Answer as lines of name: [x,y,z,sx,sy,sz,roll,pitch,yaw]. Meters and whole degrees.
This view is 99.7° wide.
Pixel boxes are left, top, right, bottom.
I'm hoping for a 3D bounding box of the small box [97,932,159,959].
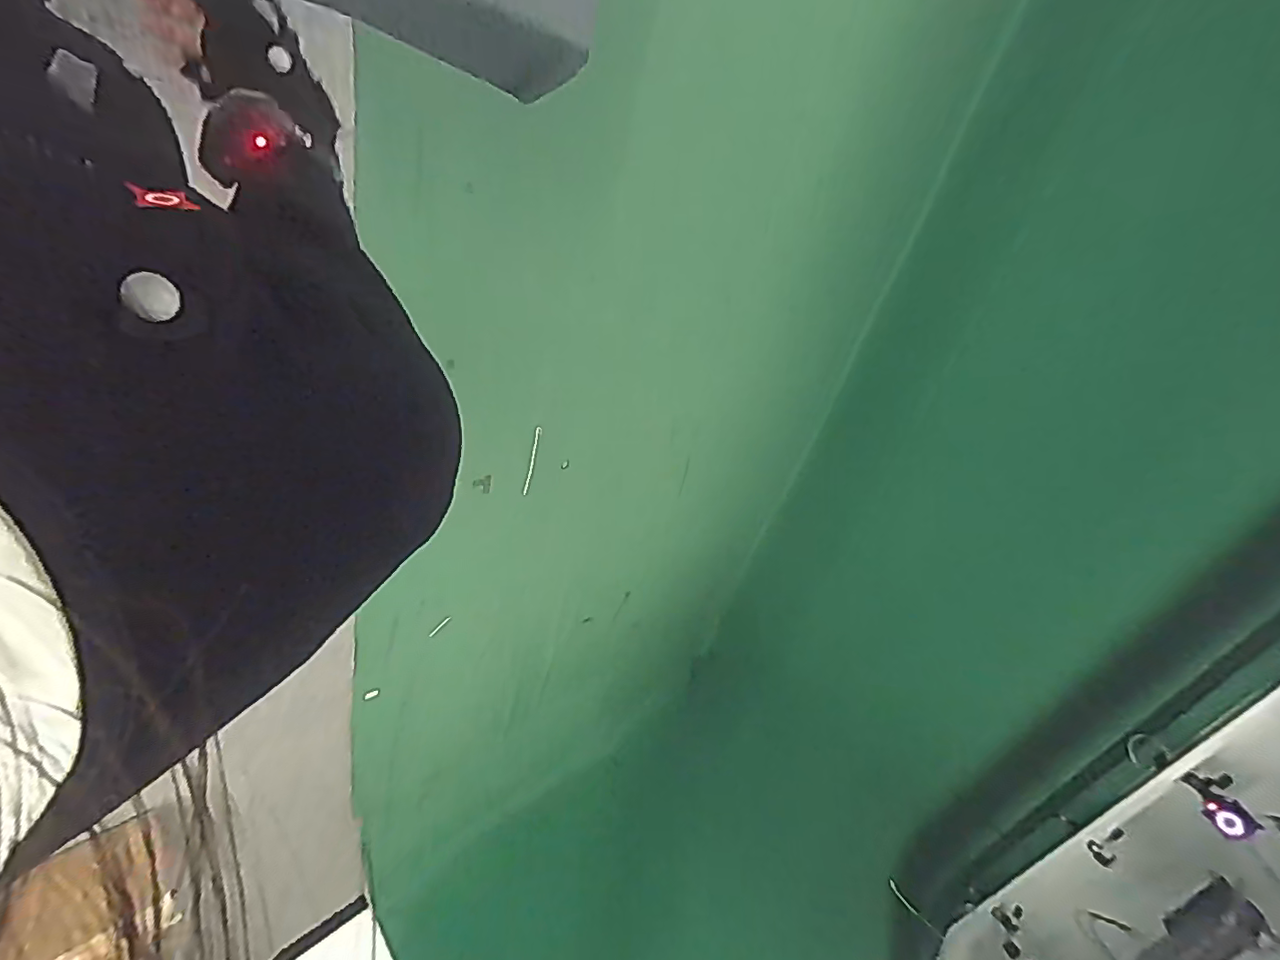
small box: [-1.502,1.477,1.558,0.179,0.176,0.168,-9,125,-48]
